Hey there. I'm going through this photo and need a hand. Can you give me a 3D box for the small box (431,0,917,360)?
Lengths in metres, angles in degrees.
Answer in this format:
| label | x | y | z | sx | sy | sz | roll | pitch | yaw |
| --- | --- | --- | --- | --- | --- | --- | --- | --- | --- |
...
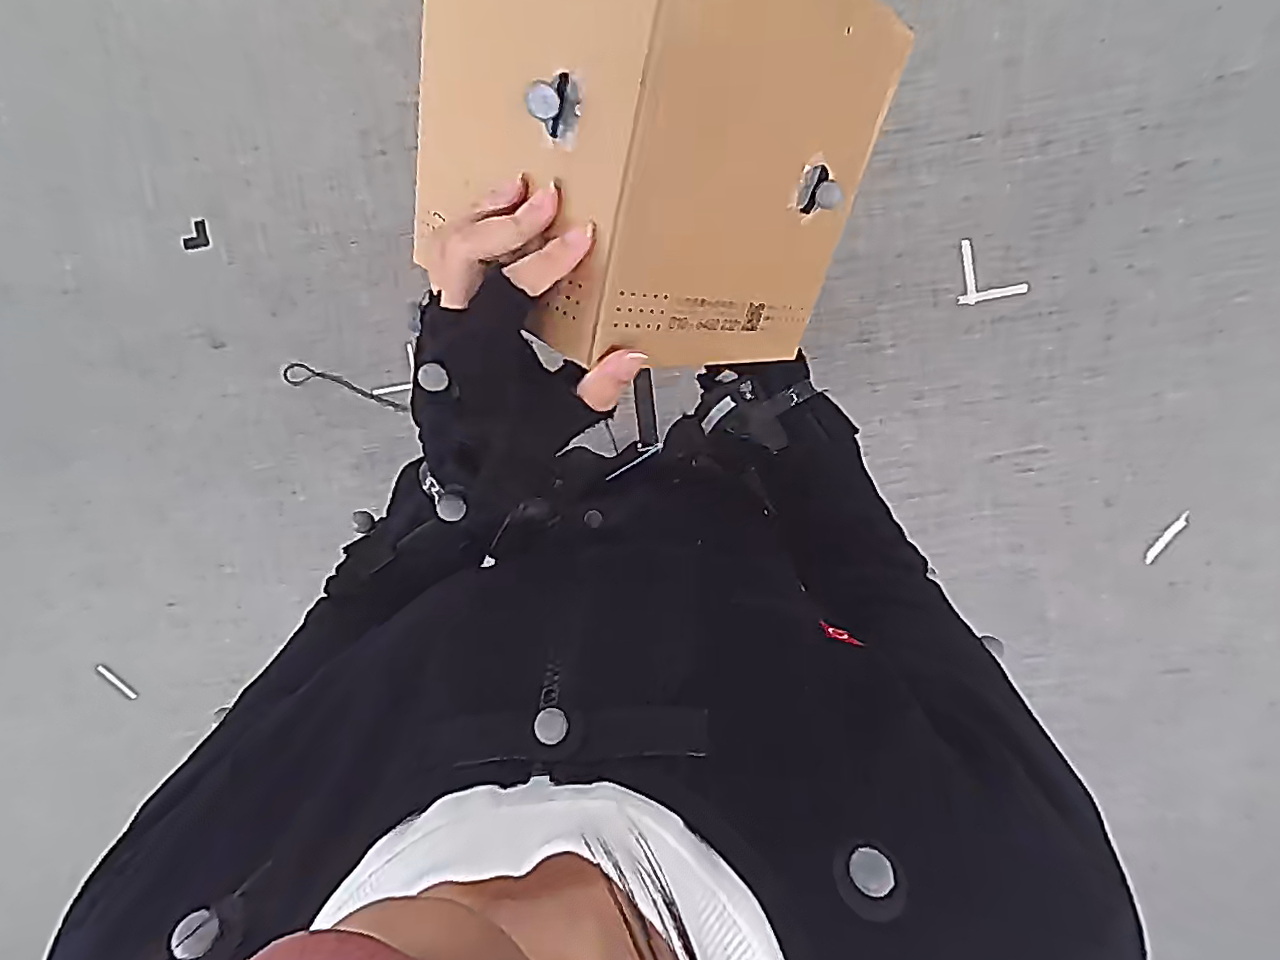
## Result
| label | x | y | z | sx | sy | sz | roll | pitch | yaw |
| --- | --- | --- | --- | --- | --- | --- | --- | --- | --- |
| small box | 0.001 | -0.171 | 0.294 | 0.179 | 0.168 | 0.176 | 38 | 125 | 36 |
